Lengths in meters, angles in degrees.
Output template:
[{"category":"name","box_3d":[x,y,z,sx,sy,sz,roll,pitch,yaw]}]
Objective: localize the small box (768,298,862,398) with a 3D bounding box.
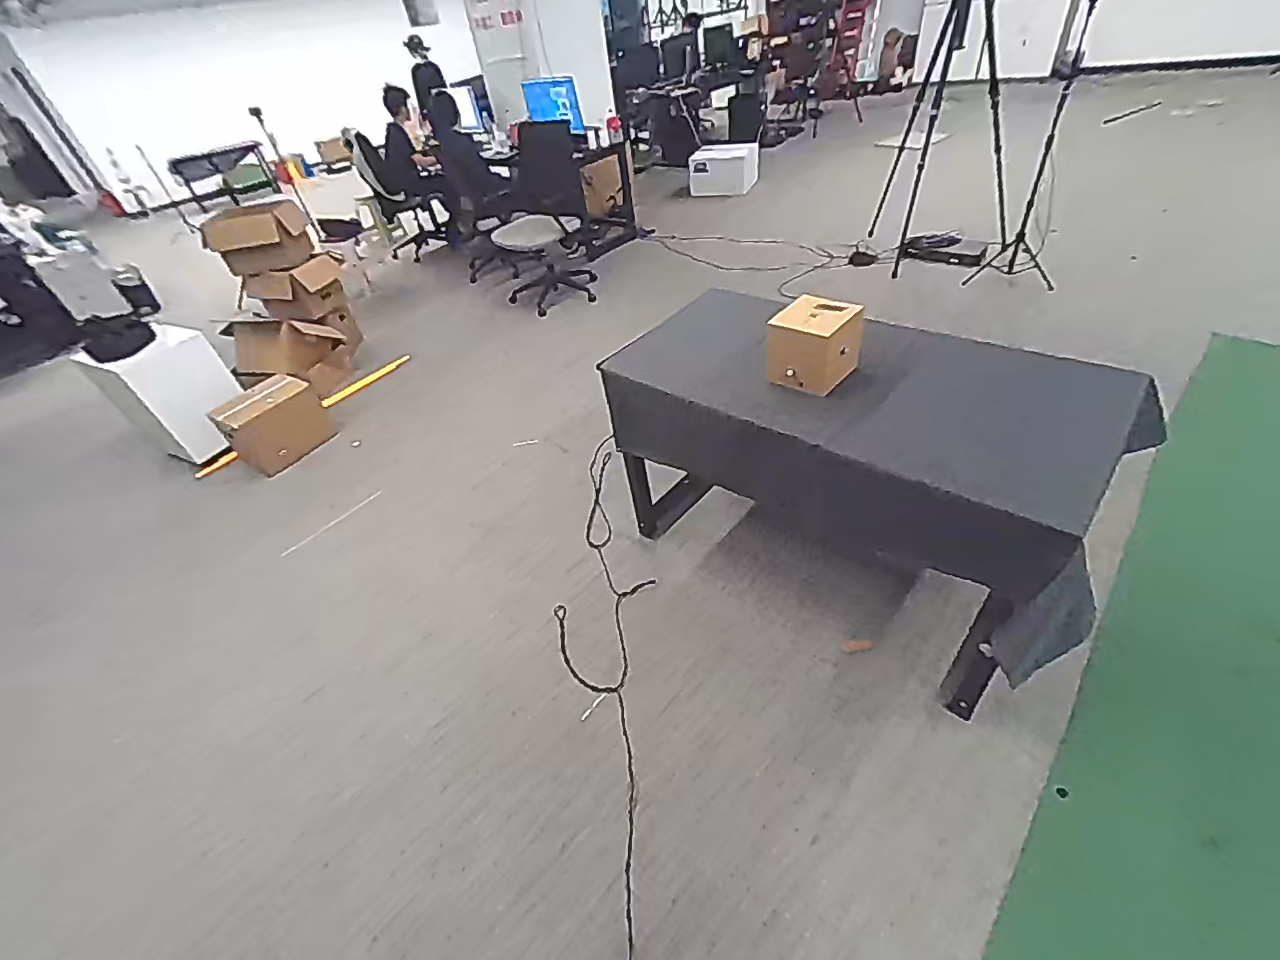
[{"category":"small box","box_3d":[0.434,-0.334,1.365,0.168,0.176,0.179,27,53,36]}]
